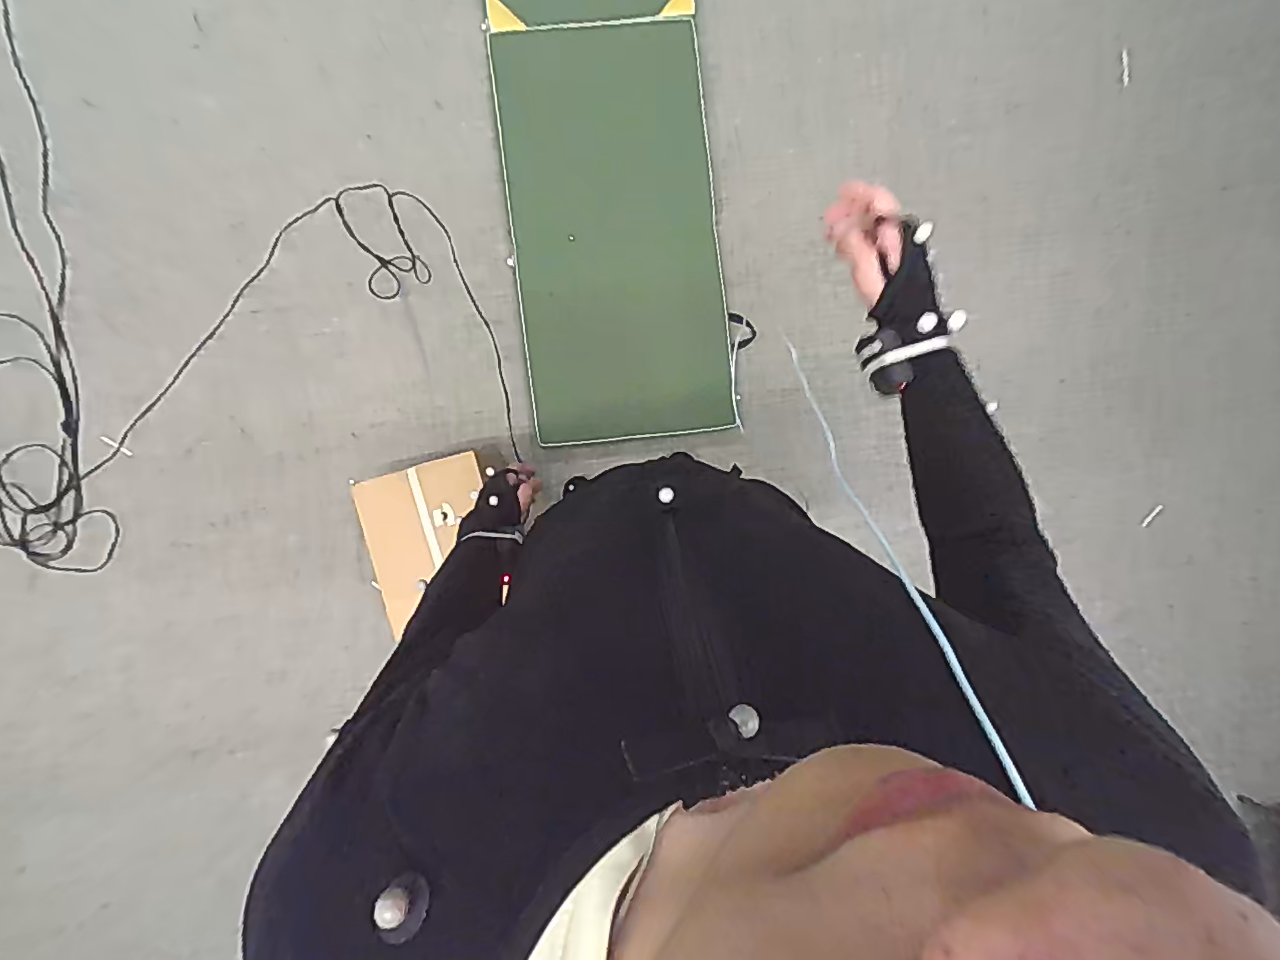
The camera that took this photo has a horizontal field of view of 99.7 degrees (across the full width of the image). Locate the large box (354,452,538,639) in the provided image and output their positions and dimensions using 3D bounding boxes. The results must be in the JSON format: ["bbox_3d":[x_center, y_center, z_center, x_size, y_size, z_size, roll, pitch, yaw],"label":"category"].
[{"bbox_3d":[-0.503,0.161,1.479,0.320,0.320,0.408,-16,91,-2],"label":"large box"}]
